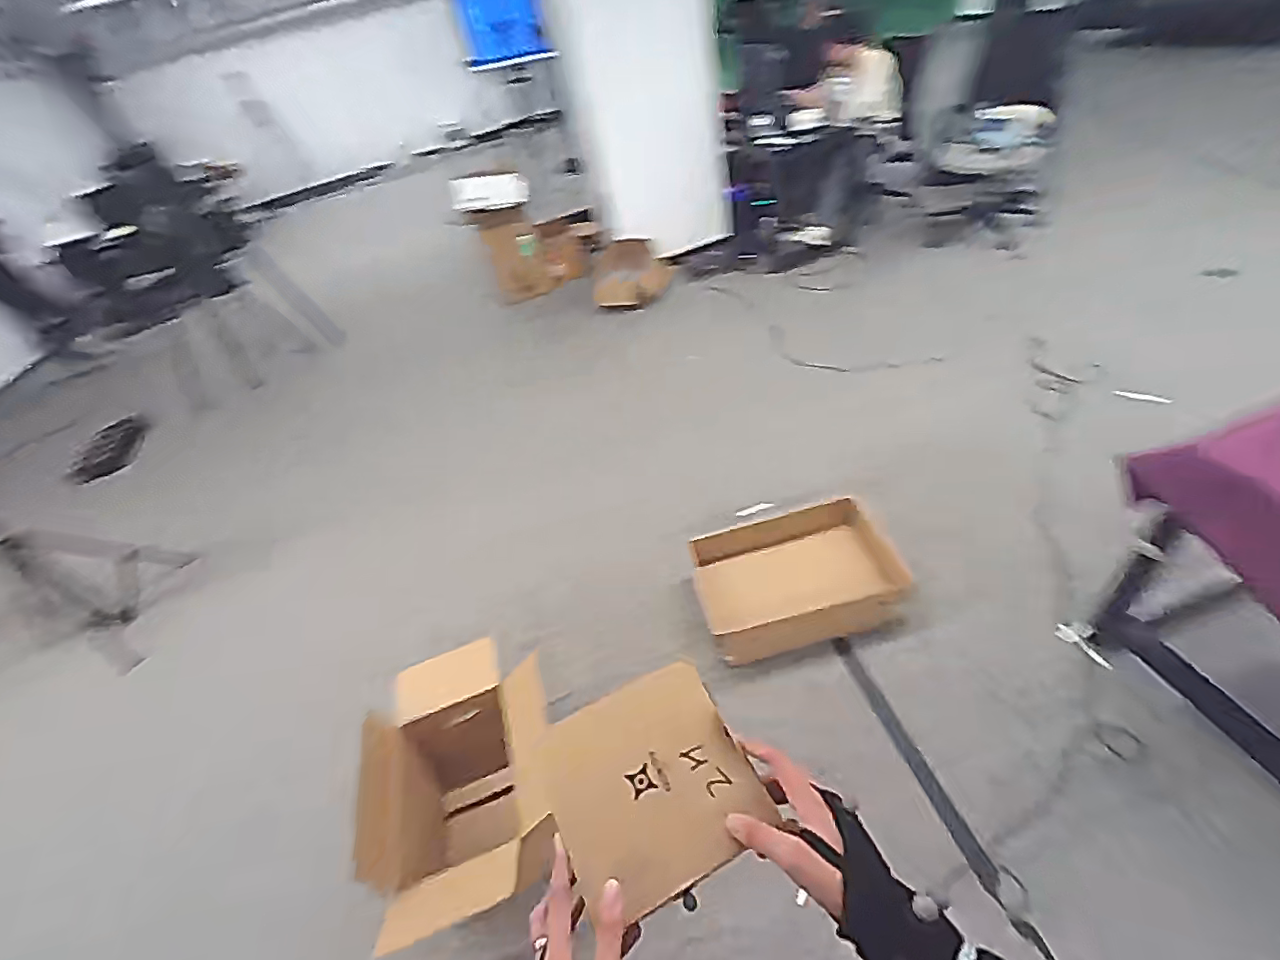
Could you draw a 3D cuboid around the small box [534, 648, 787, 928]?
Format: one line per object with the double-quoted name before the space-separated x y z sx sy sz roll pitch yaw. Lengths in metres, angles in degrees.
"small box" 0.015 0.304 0.537 0.179 0.176 0.168 -22 55 -16
